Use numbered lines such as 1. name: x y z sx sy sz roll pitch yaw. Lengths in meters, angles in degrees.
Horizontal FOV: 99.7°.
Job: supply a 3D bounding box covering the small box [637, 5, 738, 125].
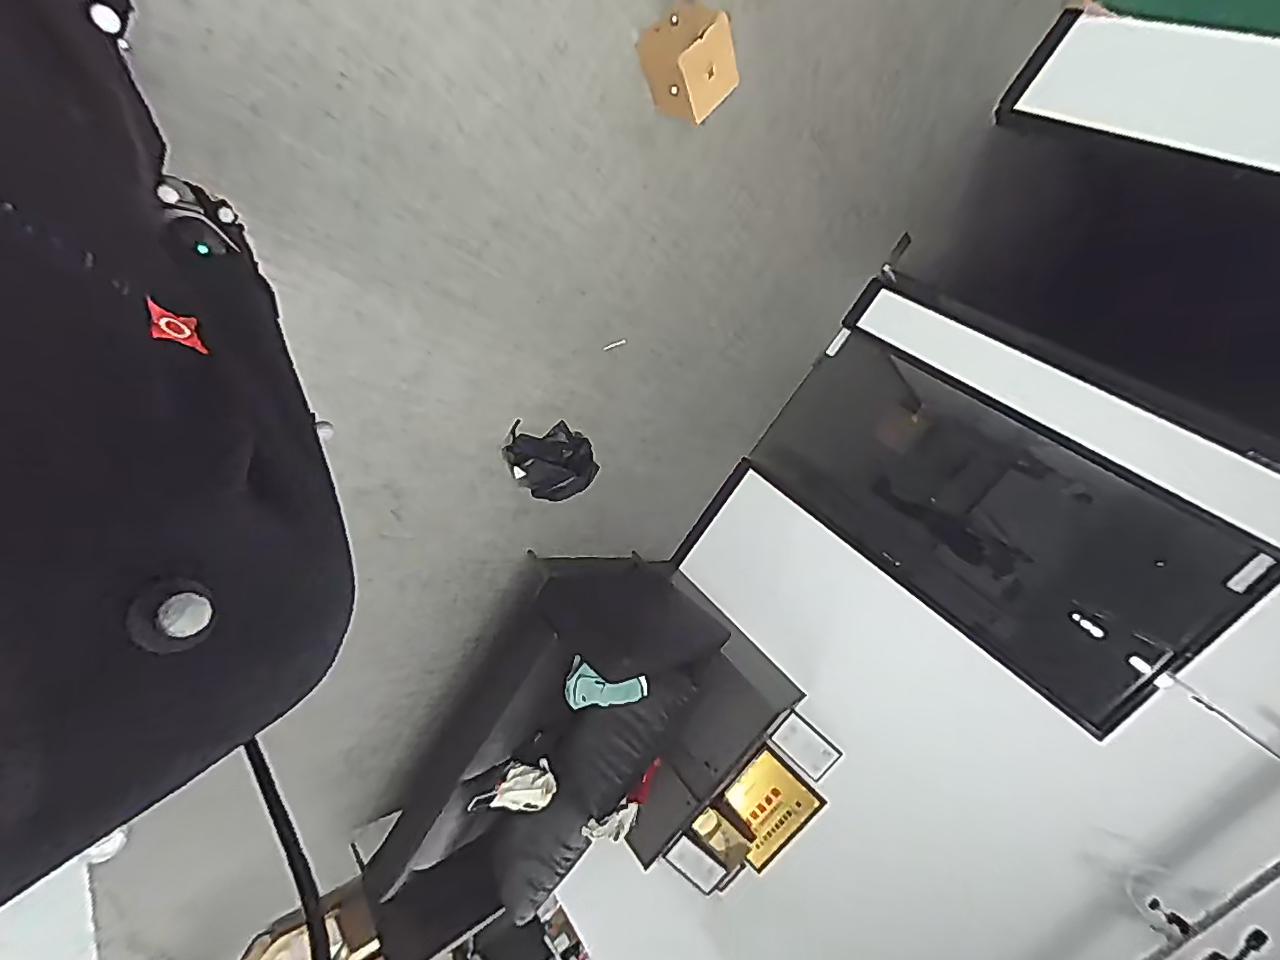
1. small box: 0.124 -1.070 1.393 0.168 0.176 0.179 -46 149 -1
